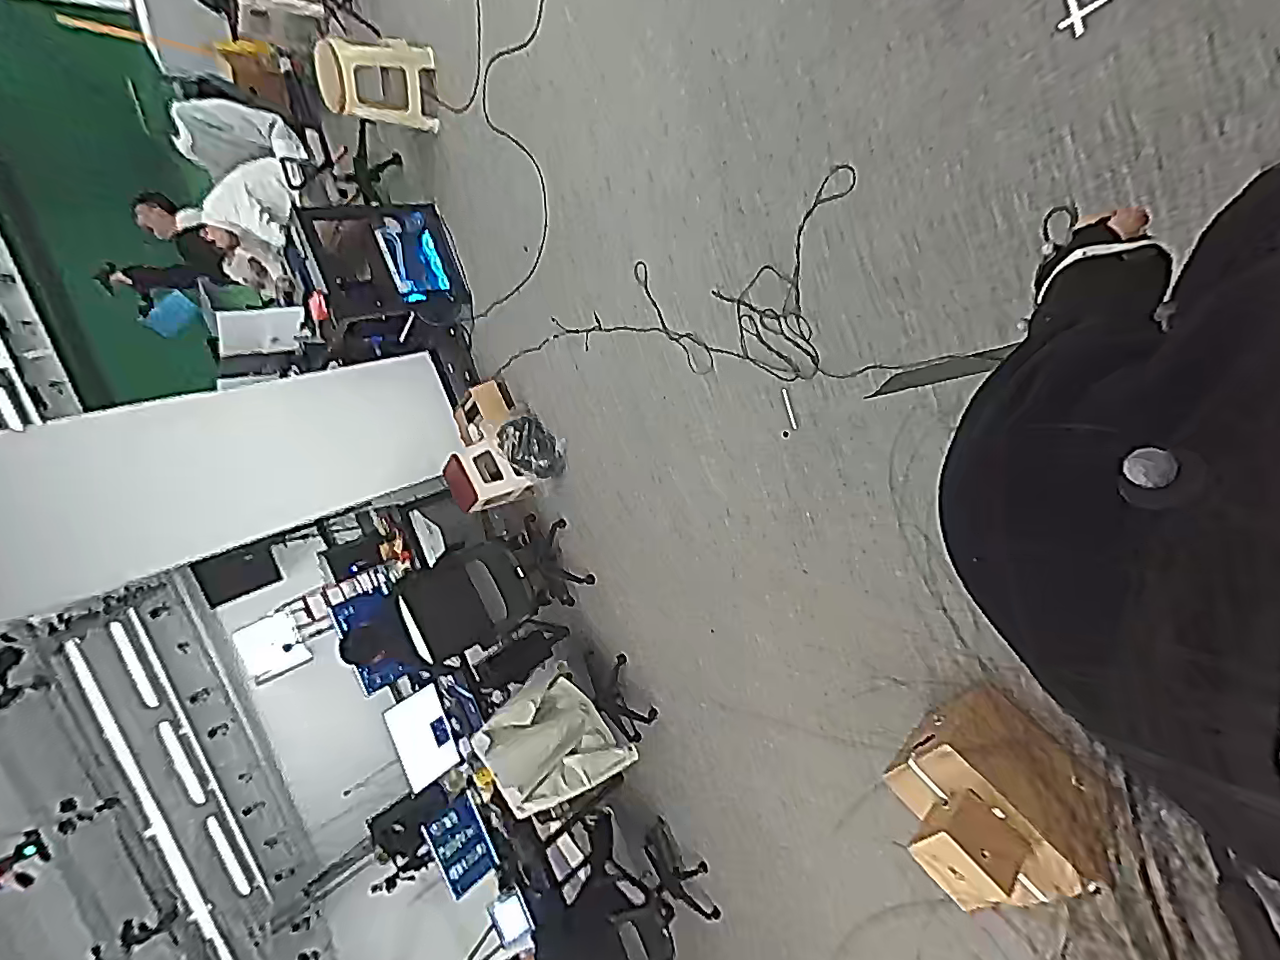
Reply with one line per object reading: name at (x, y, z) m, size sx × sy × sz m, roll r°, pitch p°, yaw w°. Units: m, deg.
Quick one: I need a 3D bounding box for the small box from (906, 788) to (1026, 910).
small box at (0.830, 0.933, 1.374) m, size 0.179 × 0.176 × 0.168 m, roll 45°, pitch 137°, yaw 27°
